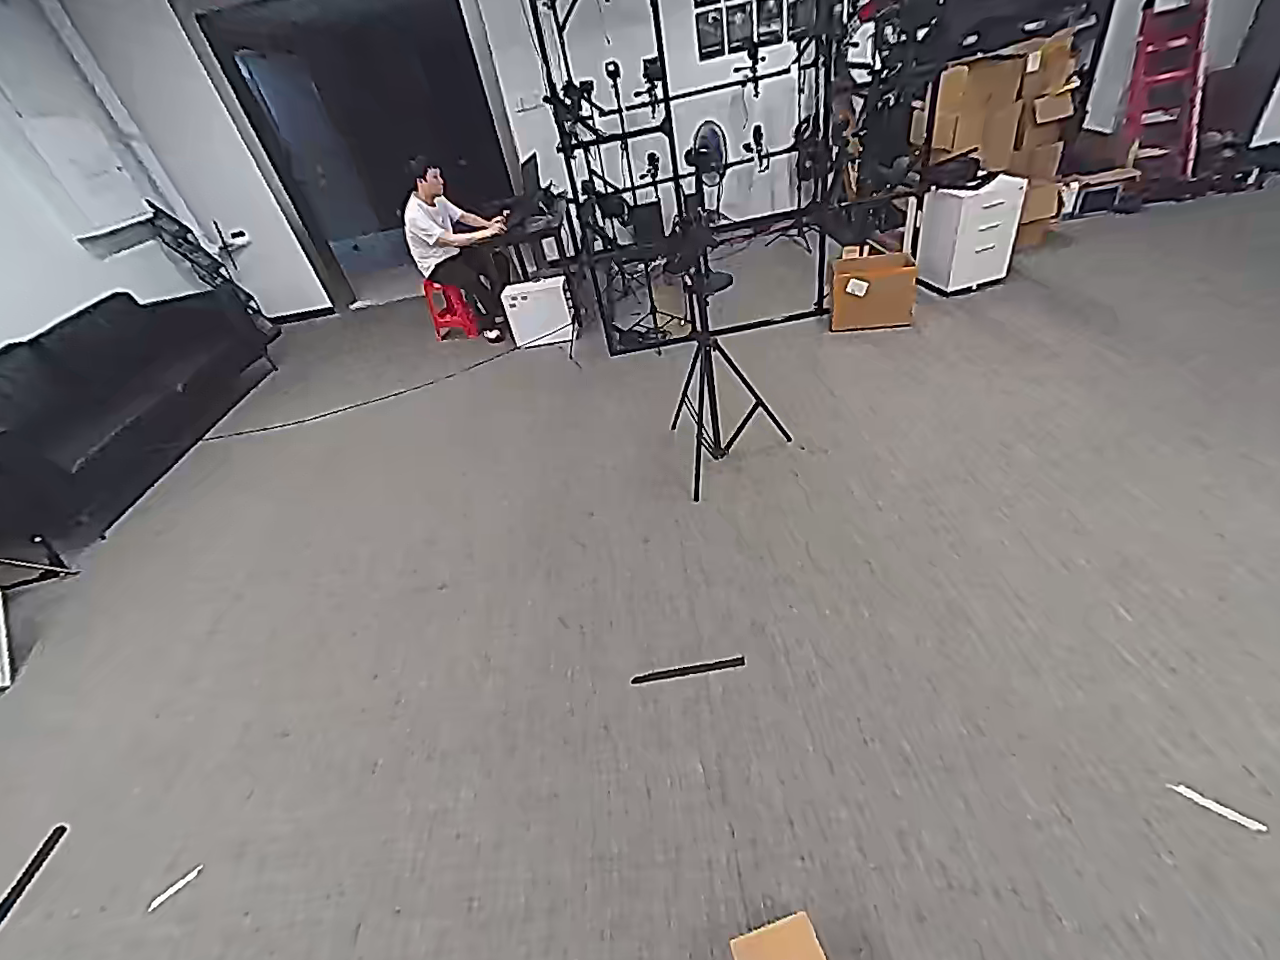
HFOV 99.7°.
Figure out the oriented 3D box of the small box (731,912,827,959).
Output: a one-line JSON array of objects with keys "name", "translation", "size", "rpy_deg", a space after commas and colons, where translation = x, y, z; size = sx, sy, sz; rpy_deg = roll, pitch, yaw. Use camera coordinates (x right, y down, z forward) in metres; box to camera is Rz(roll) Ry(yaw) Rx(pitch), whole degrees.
[{"name": "small box", "translation": [0.288, 0.989, 1.044], "size": [0.168, 0.176, 0.179], "rpy_deg": [-18, 38, -5]}]
